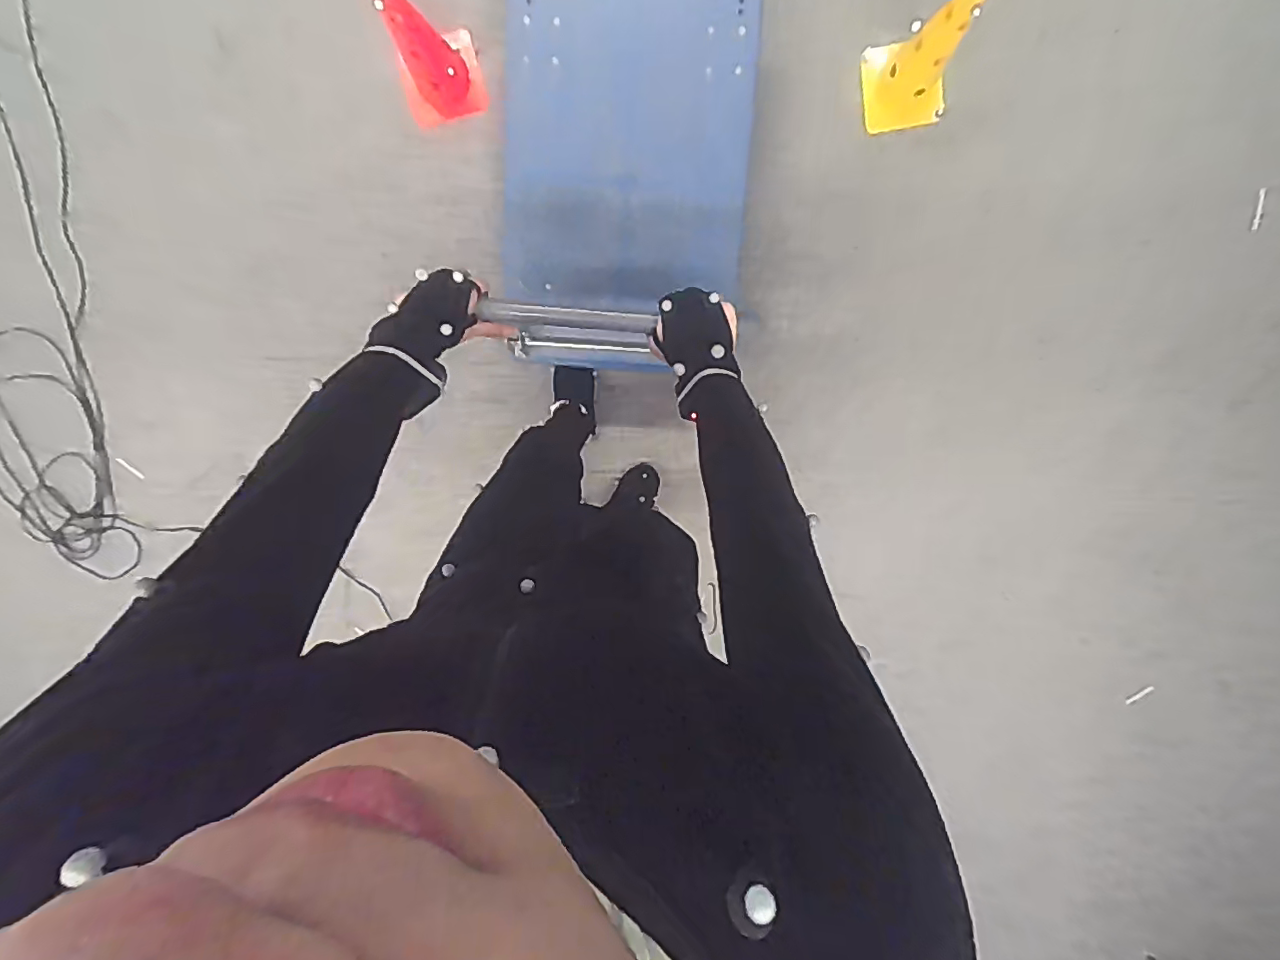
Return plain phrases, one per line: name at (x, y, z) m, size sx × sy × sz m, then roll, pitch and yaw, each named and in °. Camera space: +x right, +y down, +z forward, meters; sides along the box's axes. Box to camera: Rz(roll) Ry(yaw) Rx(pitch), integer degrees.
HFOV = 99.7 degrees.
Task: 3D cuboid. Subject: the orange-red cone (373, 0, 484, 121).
orange-red cone at (-0.519, -1.017, 1.225) m, size 0.199 × 0.360 × 0.198 m, roll -12°, pitch 100°, yaw 5°
